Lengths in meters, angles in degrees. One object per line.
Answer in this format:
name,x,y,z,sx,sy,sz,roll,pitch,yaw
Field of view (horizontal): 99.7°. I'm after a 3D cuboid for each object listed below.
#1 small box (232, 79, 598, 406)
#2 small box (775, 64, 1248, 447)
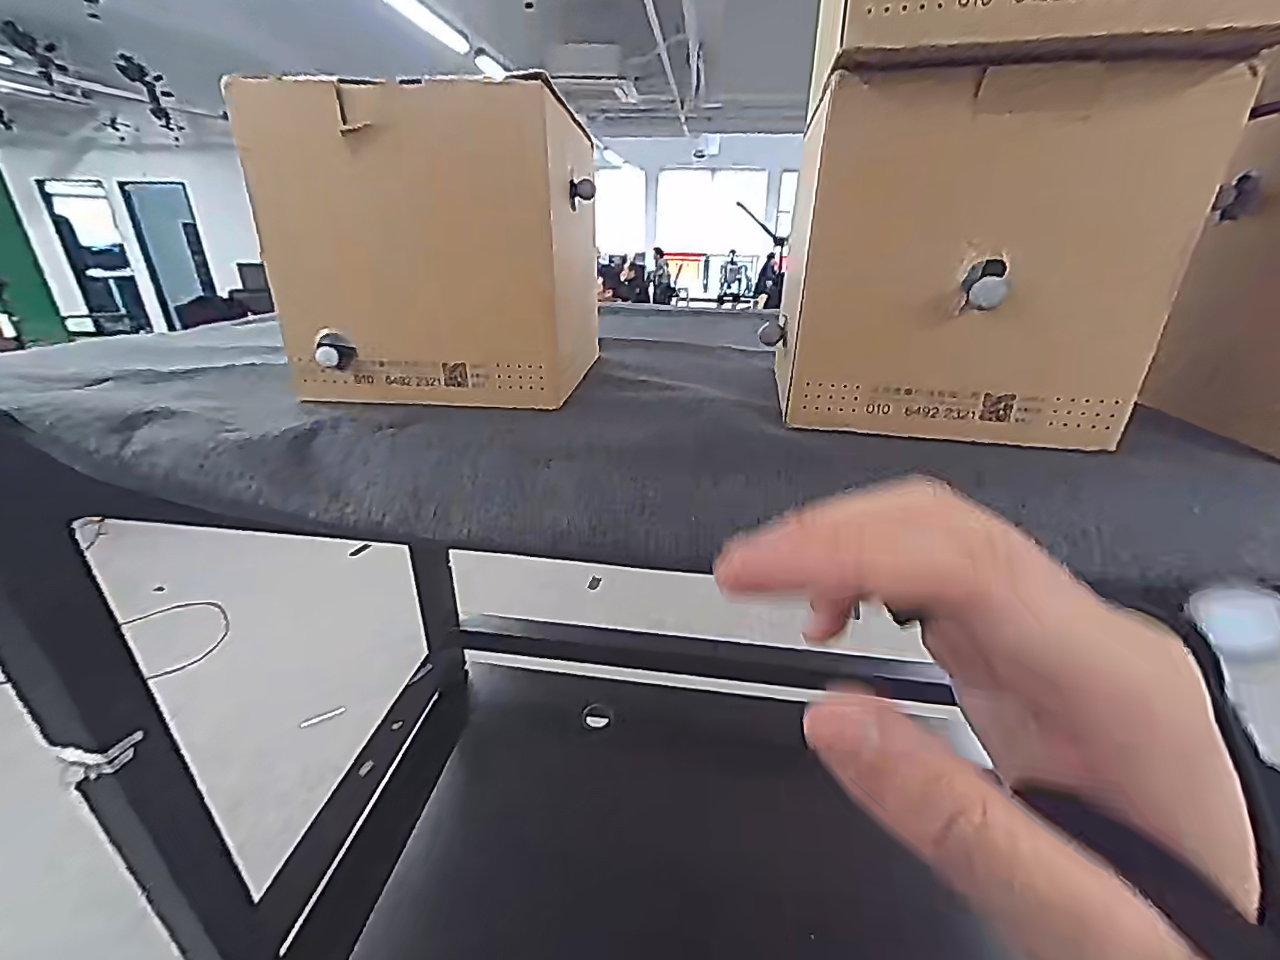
small box,-0.121,-0.152,0.375,0.168,0.176,0.179,2,23,3
small box,0.178,-0.127,0.334,0.168,0.176,0.179,6,24,9
